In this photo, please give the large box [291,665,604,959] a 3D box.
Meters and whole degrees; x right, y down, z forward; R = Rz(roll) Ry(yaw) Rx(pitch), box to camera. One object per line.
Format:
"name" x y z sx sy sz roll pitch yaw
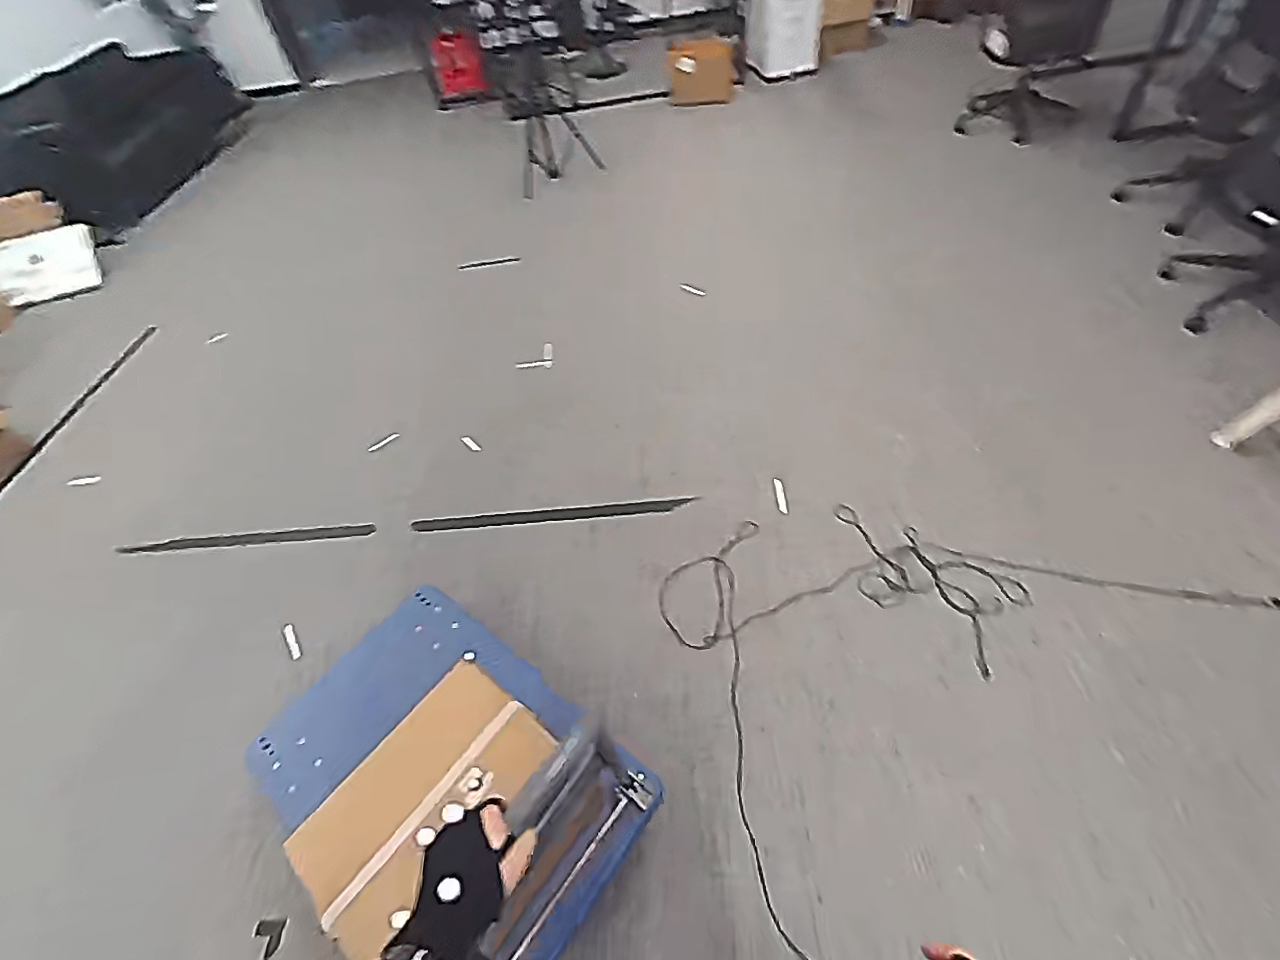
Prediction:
"large box" -0.328 0.653 1.024 0.320 0.320 0.408 29 60 28
